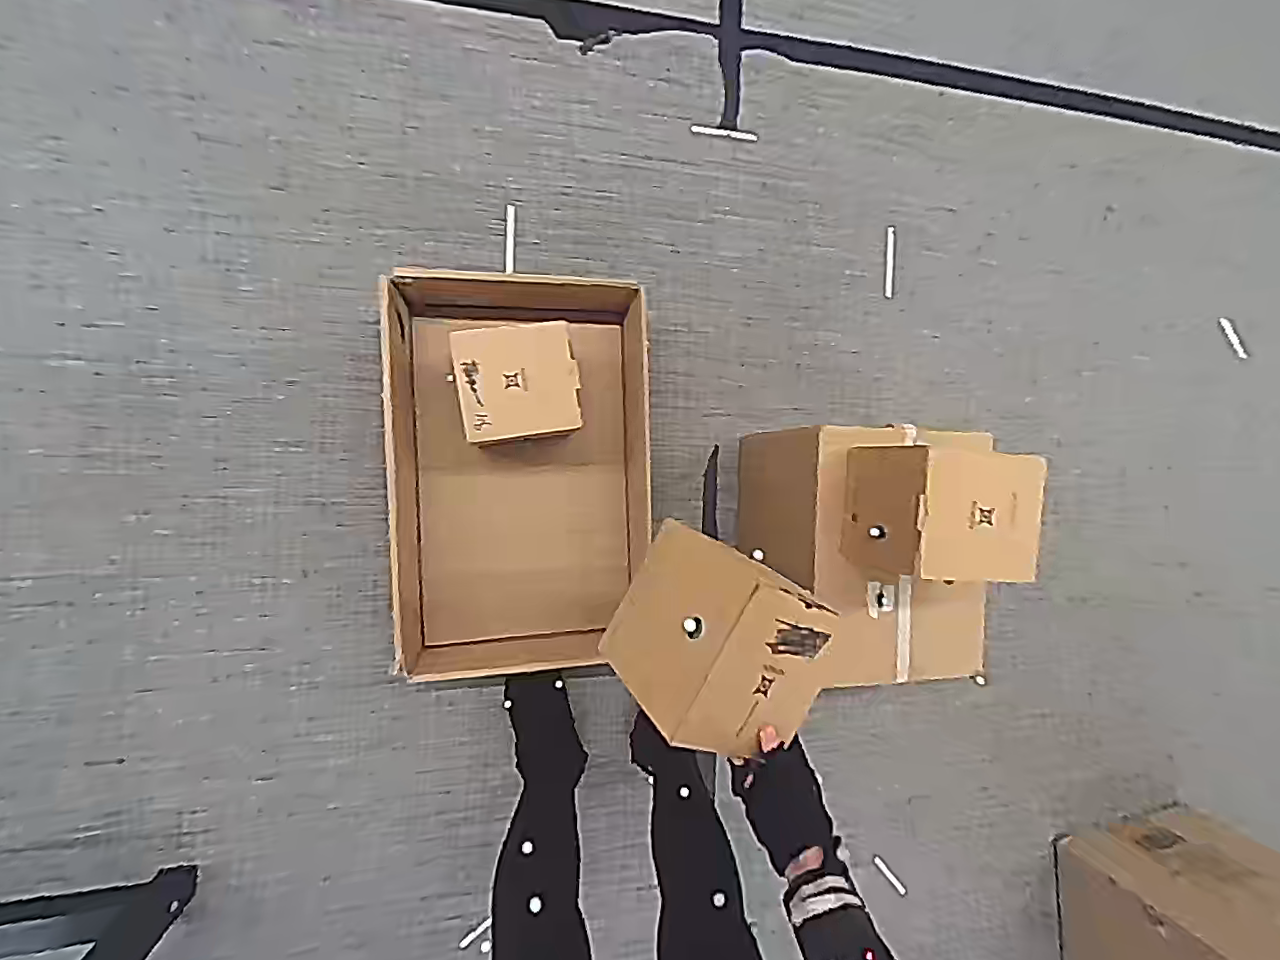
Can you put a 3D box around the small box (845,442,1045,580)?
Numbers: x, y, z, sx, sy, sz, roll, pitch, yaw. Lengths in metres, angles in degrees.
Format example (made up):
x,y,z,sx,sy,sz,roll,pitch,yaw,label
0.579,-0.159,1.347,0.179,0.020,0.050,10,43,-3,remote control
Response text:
x,y,z,sx,sy,sz,roll,pitch,yaw,label
0.408,0.038,0.749,0.179,0.176,0.168,3,93,-12,small box

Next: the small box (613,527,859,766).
x,y,z,sx,sy,sz,roll,pitch,yaw,label
0.096,0.175,0.598,0.168,0.176,0.179,28,92,-32,small box

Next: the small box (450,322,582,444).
x,y,z,sx,sy,sz,roll,pitch,yaw,label
-0.200,-0.151,0.881,0.179,0.176,0.168,-9,94,-12,small box

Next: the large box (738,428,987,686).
x,y,z,sx,sy,sz,roll,pitch,yaw,label
0.380,0.112,0.994,0.320,0.320,0.408,1,92,-11,large box
